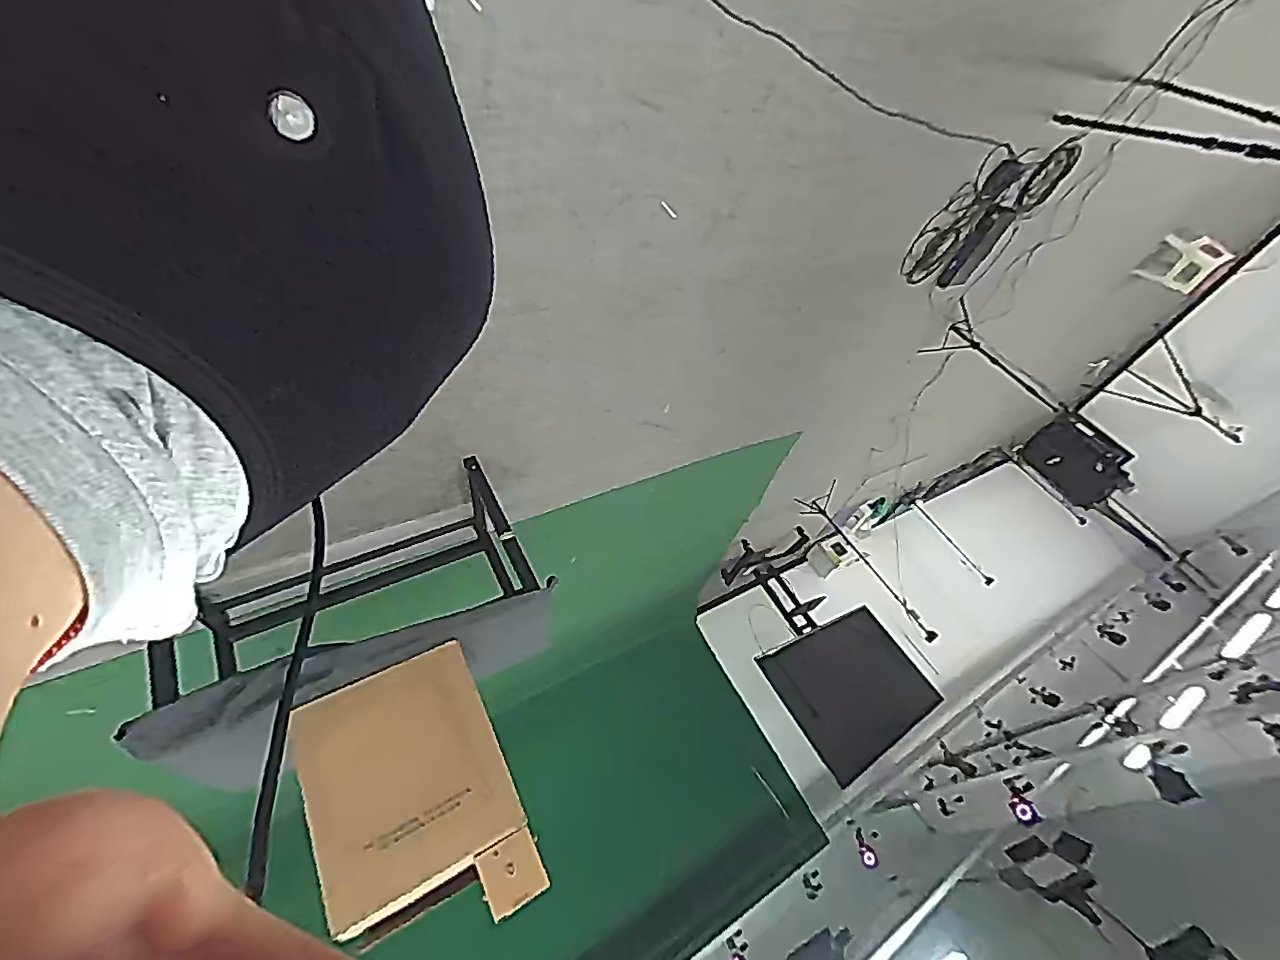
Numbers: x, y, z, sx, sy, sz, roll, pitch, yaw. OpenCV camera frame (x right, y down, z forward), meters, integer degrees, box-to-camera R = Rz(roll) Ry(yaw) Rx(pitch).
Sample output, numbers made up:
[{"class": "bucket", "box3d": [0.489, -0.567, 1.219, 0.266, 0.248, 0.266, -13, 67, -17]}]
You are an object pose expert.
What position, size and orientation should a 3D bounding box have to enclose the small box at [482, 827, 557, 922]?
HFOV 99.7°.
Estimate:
[{"class": "small box", "box3d": [-0.359, 1.163, 1.600, 0.168, 0.176, 0.179, -21, 149, -25]}]
